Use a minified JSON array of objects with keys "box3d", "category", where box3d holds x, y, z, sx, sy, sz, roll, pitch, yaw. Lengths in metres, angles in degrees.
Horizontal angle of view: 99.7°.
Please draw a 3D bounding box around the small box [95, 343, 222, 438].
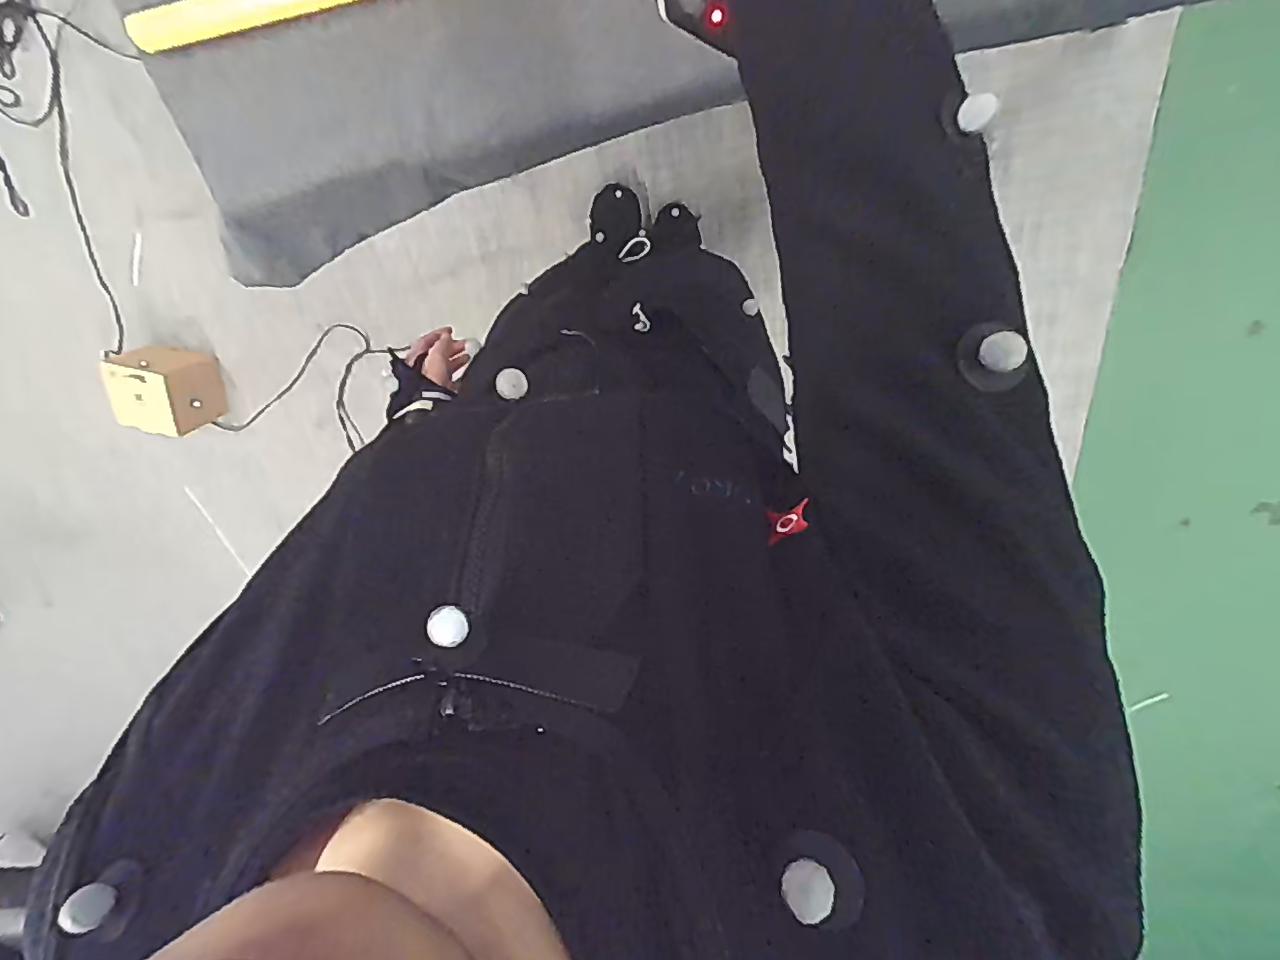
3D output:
[{"box3d":[-1.240,-0.238,1.411,0.168,0.176,0.179,13,120,0],"category":"small box"}]
